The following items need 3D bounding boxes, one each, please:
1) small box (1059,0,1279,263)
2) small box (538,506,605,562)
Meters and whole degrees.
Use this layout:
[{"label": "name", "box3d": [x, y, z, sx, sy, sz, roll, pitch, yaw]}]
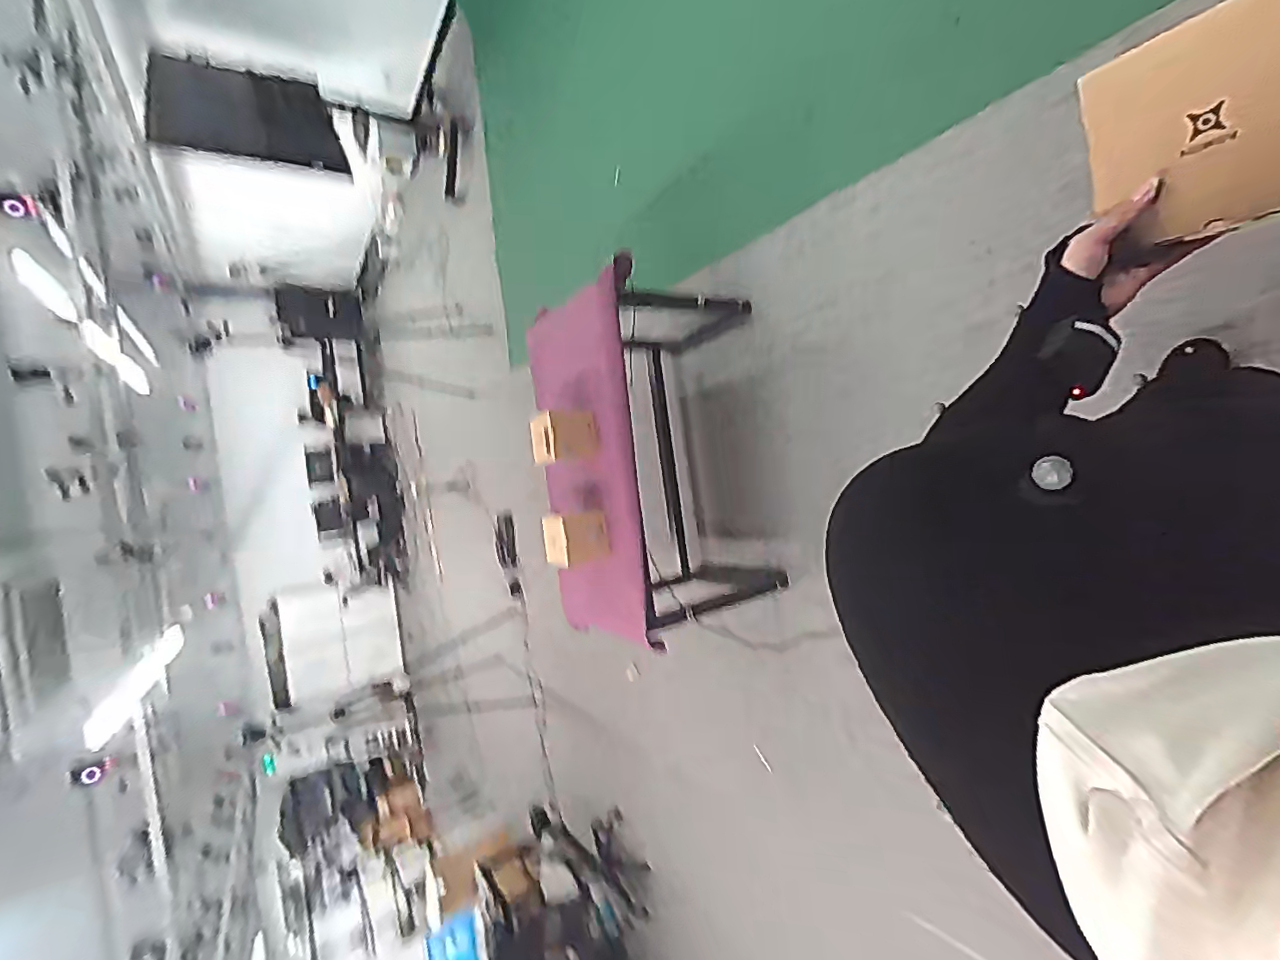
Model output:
[{"label": "small box", "box3d": [0.533, -0.330, 0.503, 0.168, 0.176, 0.179, 0, 113, 60]}, {"label": "small box", "box3d": [-0.243, 0.187, 1.914, 0.179, 0.176, 0.168, -3, 94, 55]}]
